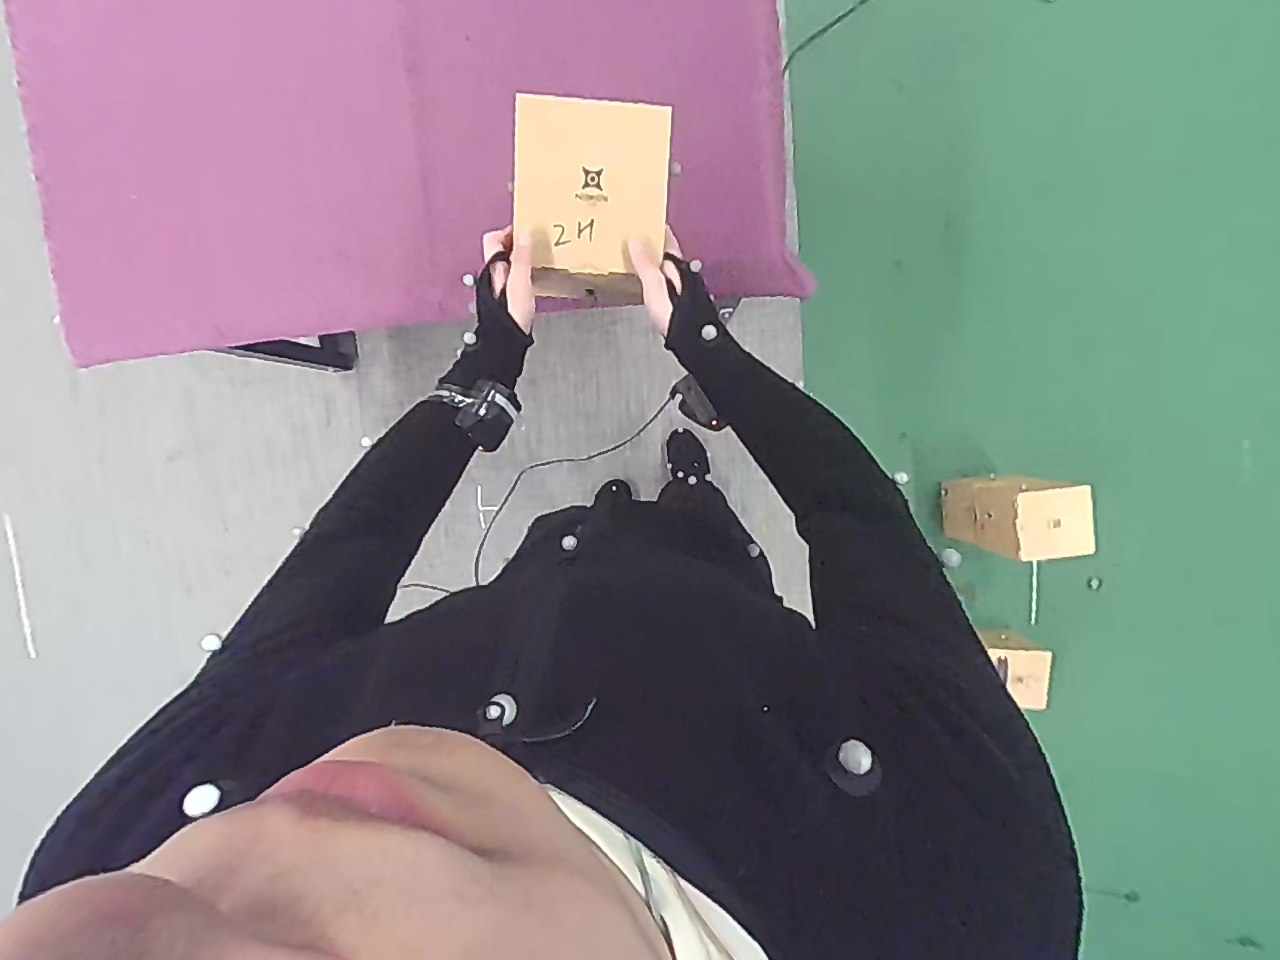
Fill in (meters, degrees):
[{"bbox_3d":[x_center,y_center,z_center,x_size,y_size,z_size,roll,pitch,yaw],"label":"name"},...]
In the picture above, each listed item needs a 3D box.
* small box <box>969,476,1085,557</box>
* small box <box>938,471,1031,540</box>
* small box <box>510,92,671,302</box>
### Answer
[{"bbox_3d":[0.970,0.086,1.364,0.179,0.176,0.168,-8,95,3],"label":"small box"},{"bbox_3d":[0.966,0.069,1.525,0.179,0.176,0.168,-7,95,1],"label":"small box"},{"bbox_3d":[-0.059,-0.324,0.655,0.168,0.176,0.179,3,100,-3],"label":"small box"}]
